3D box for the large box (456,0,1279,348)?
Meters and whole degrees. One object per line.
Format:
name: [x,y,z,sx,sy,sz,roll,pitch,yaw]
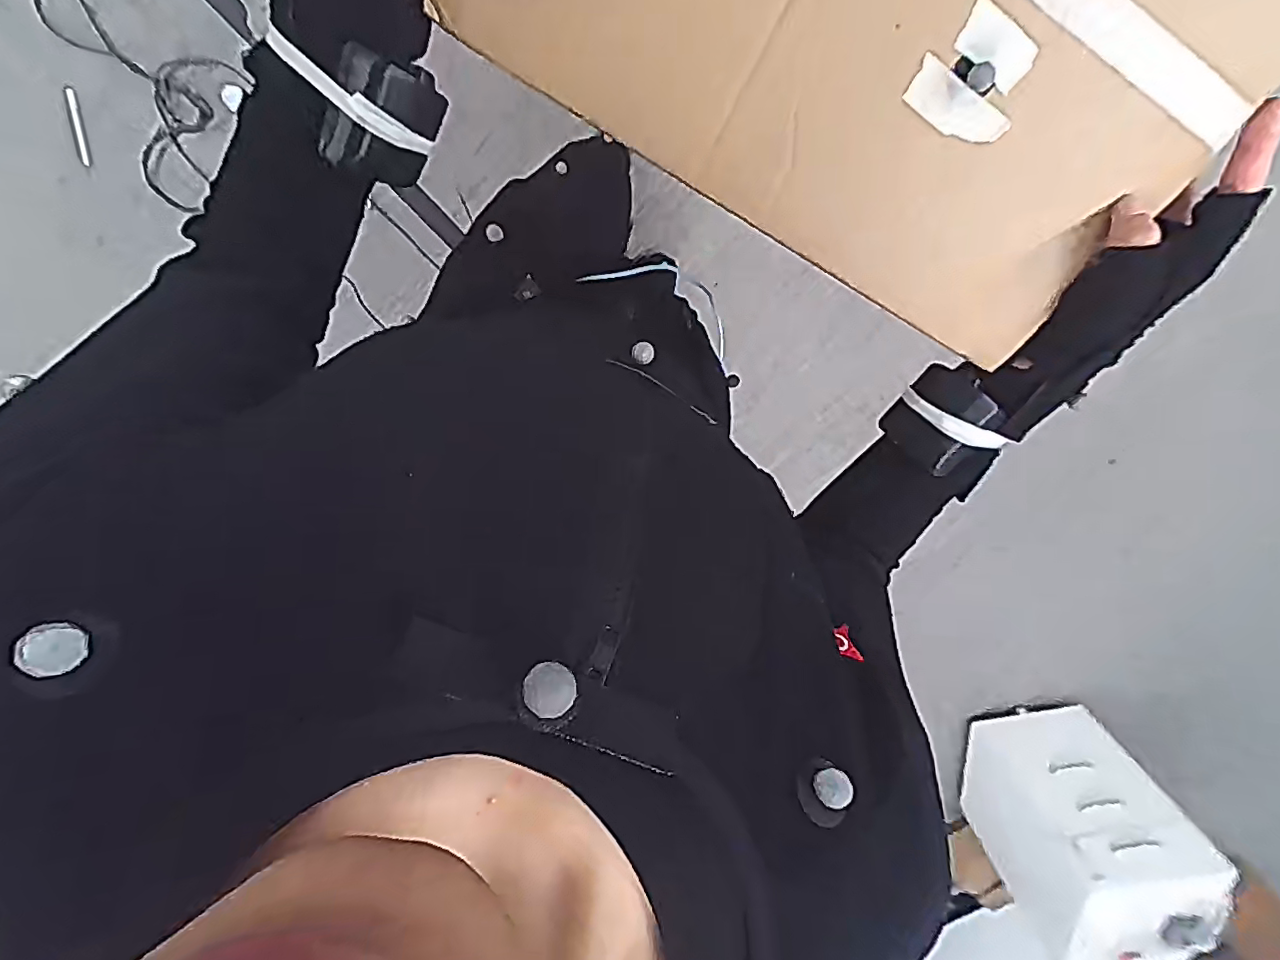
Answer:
large box: [0.150,-0.364,0.378,0.408,0.320,0.320,26,124,-13]
